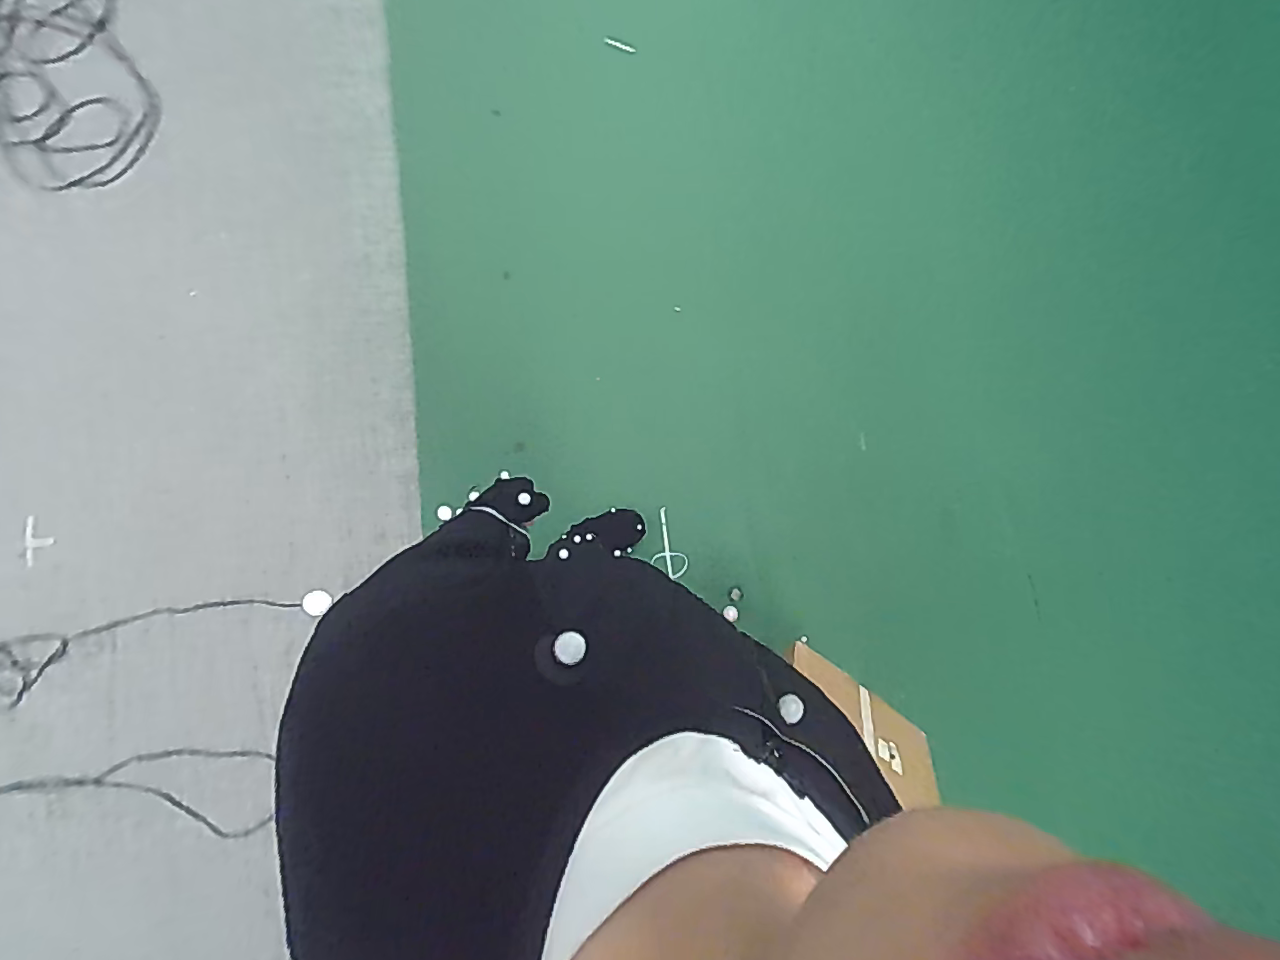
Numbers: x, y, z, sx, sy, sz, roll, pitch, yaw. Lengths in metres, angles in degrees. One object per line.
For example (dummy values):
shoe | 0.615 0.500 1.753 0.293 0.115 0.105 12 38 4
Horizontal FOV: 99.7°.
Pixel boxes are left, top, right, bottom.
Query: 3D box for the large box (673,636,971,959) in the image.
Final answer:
large box | 0.299 0.576 0.964 0.320 0.408 0.320 36 117 2
